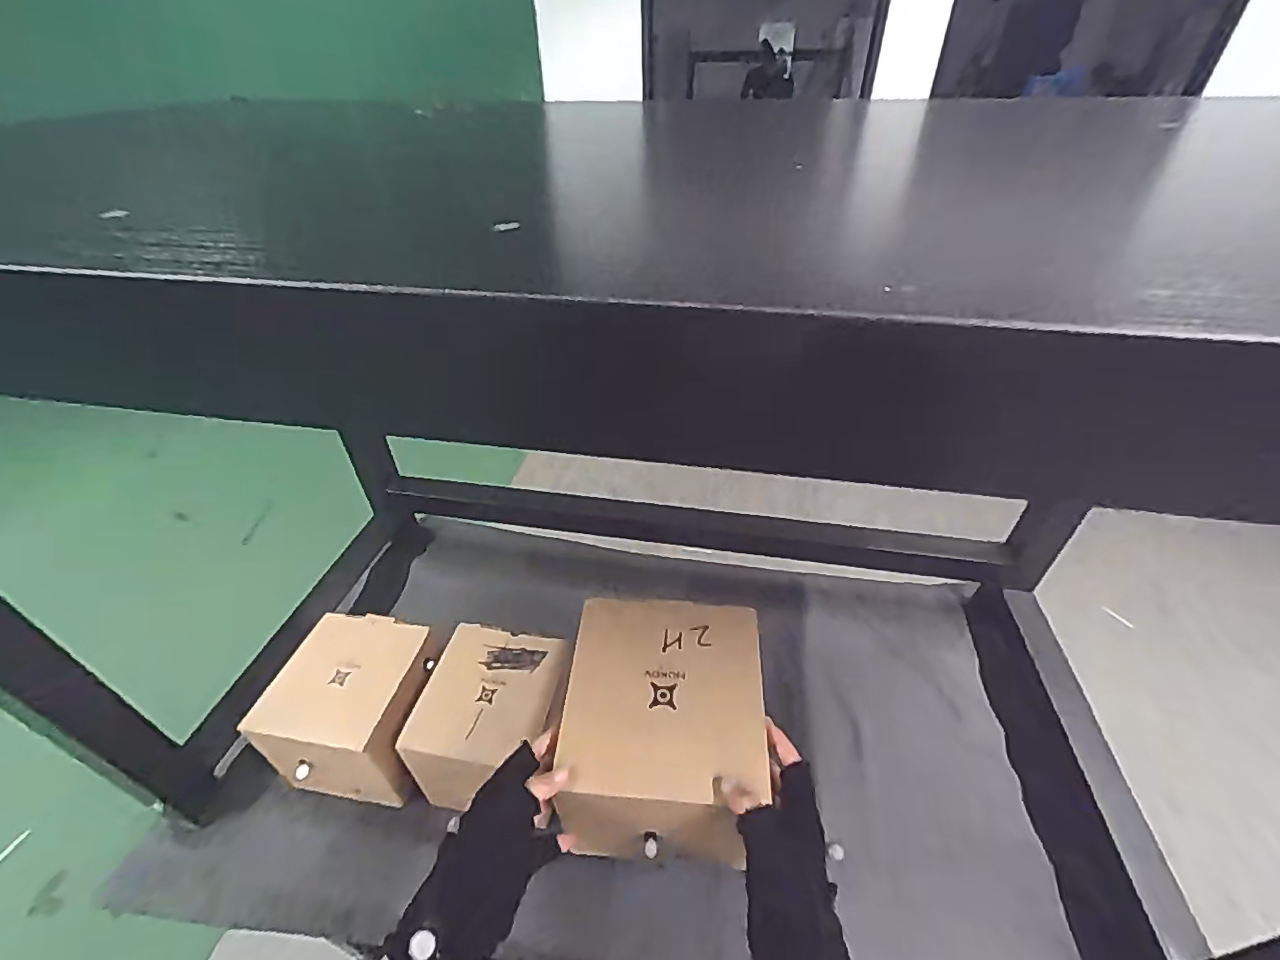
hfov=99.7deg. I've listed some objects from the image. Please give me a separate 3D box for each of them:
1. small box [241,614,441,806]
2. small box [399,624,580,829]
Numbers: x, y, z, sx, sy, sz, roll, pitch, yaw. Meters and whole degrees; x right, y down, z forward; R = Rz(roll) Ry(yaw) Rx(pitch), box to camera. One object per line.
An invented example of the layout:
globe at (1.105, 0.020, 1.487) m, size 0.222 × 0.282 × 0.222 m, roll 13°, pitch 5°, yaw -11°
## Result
small box at (-0.377, 0.313, 0.739) m, size 0.168 × 0.176 × 0.179 m, roll 6°, pitch 38°, yaw 8°
small box at (-0.182, 0.324, 0.719) m, size 0.168 × 0.176 × 0.179 m, roll 6°, pitch 40°, yaw 9°
